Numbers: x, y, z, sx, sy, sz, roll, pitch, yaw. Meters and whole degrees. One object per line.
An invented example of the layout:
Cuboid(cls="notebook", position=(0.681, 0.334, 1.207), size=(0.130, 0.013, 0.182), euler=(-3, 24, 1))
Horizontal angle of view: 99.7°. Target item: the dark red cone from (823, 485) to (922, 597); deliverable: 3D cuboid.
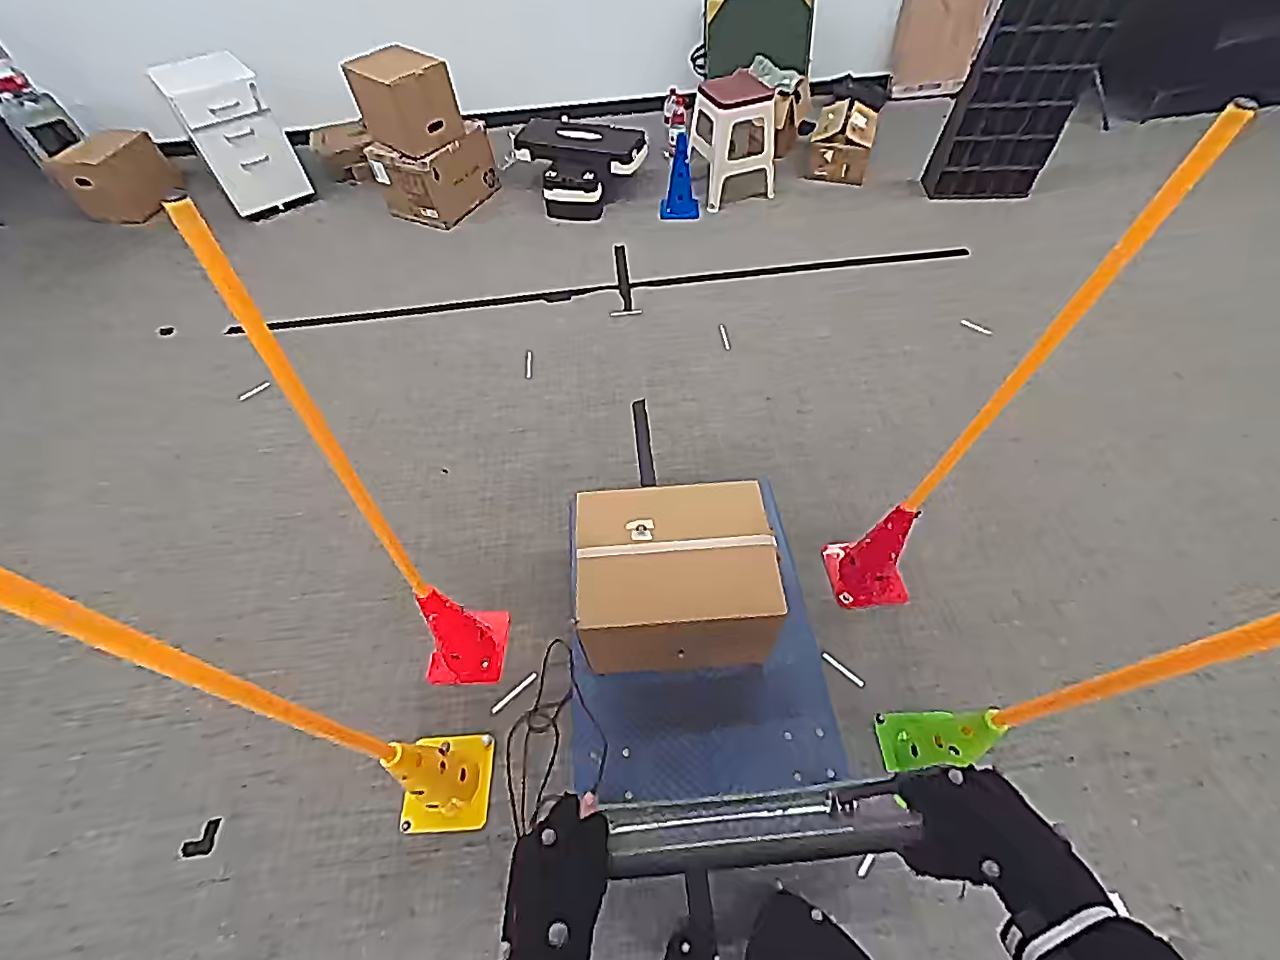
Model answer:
Cuboid(cls="dark red cone", position=(0.642, 0.144, 1.418), size=(0.201, 0.394, 0.202), euler=(-6, 54, -3))

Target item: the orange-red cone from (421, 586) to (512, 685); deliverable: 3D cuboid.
Cuboid(cls="orange-red cone", position=(-0.470, 0.358, 1.356), size=(0.198, 0.360, 0.199), euler=(0, 52, 2))

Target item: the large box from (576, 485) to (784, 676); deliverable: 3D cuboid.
Cuboid(cls="large box", position=(0.077, 0.238, 1.231), size=(0.408, 0.320, 0.320), euler=(-5, 54, 1))

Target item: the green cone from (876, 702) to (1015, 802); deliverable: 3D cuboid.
Cuboid(cls="green cone", position=(0.675, 0.543, 1.143), size=(0.202, 0.368, 0.200), euler=(-3, 53, 0))
